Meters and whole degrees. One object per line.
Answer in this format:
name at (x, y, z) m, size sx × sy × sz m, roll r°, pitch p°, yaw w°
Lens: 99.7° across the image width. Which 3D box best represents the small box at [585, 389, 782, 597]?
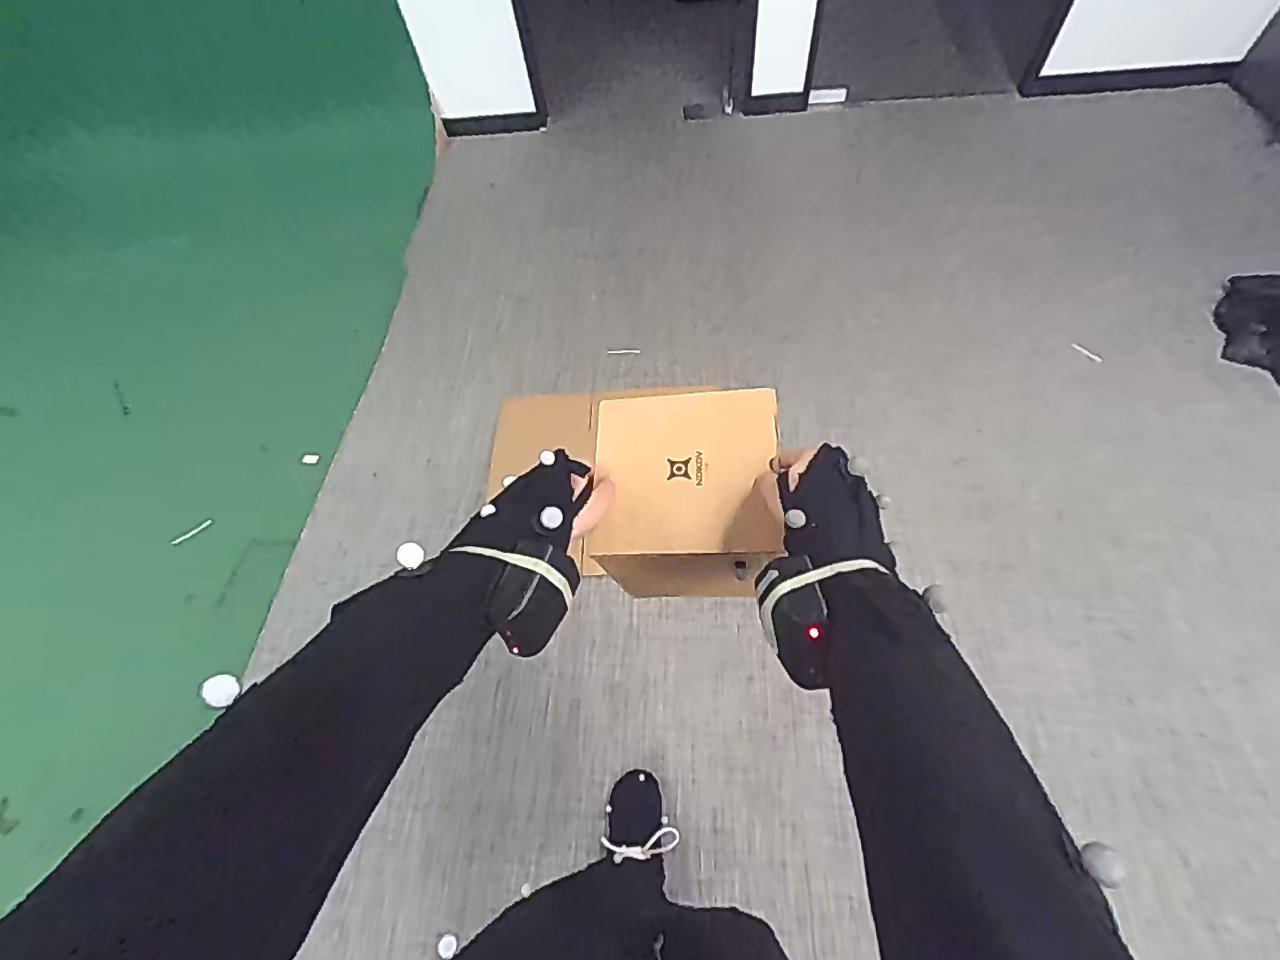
small box at (0.054, 0.025, 0.572) m, size 0.179 × 0.176 × 0.168 m, roll -3°, pitch 64°, yaw 11°
